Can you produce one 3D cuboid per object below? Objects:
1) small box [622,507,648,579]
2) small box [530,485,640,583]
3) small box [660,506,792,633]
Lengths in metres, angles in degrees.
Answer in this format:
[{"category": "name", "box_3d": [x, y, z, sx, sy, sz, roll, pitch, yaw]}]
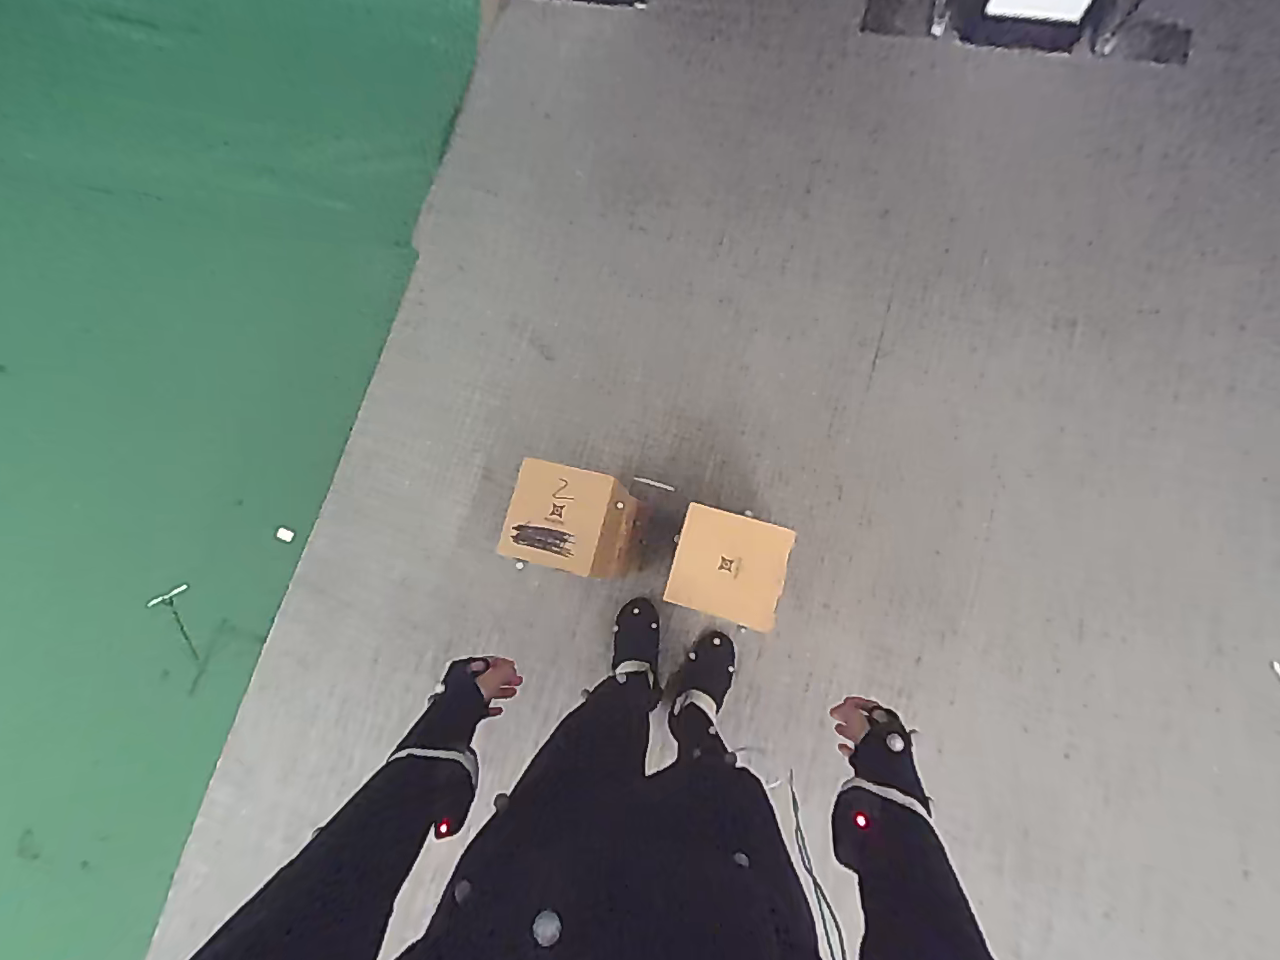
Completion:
[{"category": "small box", "box_3d": [-0.085, 0.140, 1.313, 0.179, 0.176, 0.168, 12, 80, 11]}, {"category": "small box", "box_3d": [-0.107, 0.118, 1.153, 0.179, 0.176, 0.168, 12, 81, 11]}, {"category": "small box", "box_3d": [0.147, 0.157, 0.941, 0.179, 0.176, 0.168, 16, 81, 10]}]
